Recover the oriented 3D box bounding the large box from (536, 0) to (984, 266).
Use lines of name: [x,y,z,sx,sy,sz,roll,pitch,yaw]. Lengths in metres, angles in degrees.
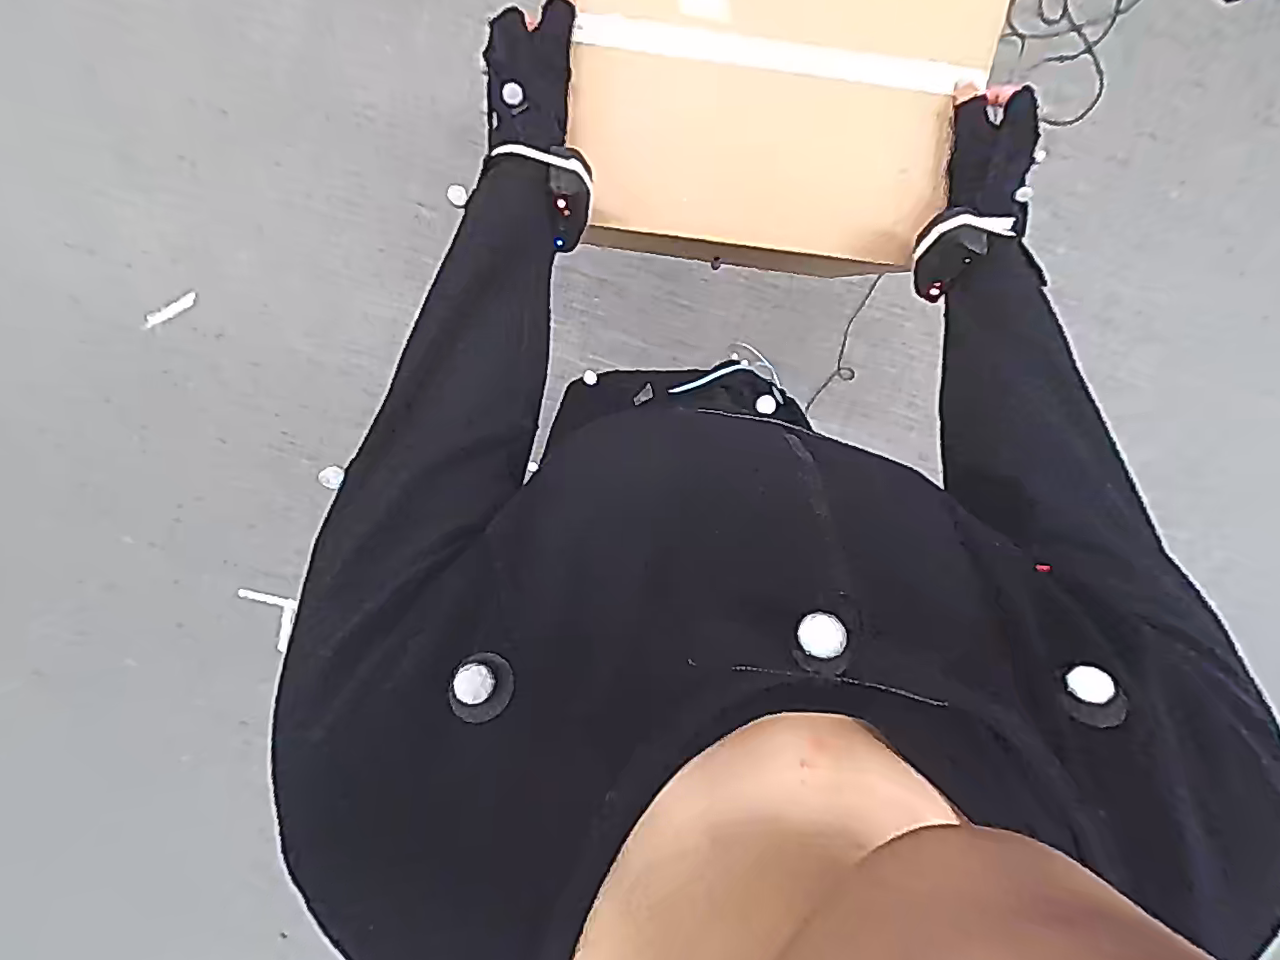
large box: [0.108,-0.438,0.642,0.408,0.320,0.320,6,108,-2]
